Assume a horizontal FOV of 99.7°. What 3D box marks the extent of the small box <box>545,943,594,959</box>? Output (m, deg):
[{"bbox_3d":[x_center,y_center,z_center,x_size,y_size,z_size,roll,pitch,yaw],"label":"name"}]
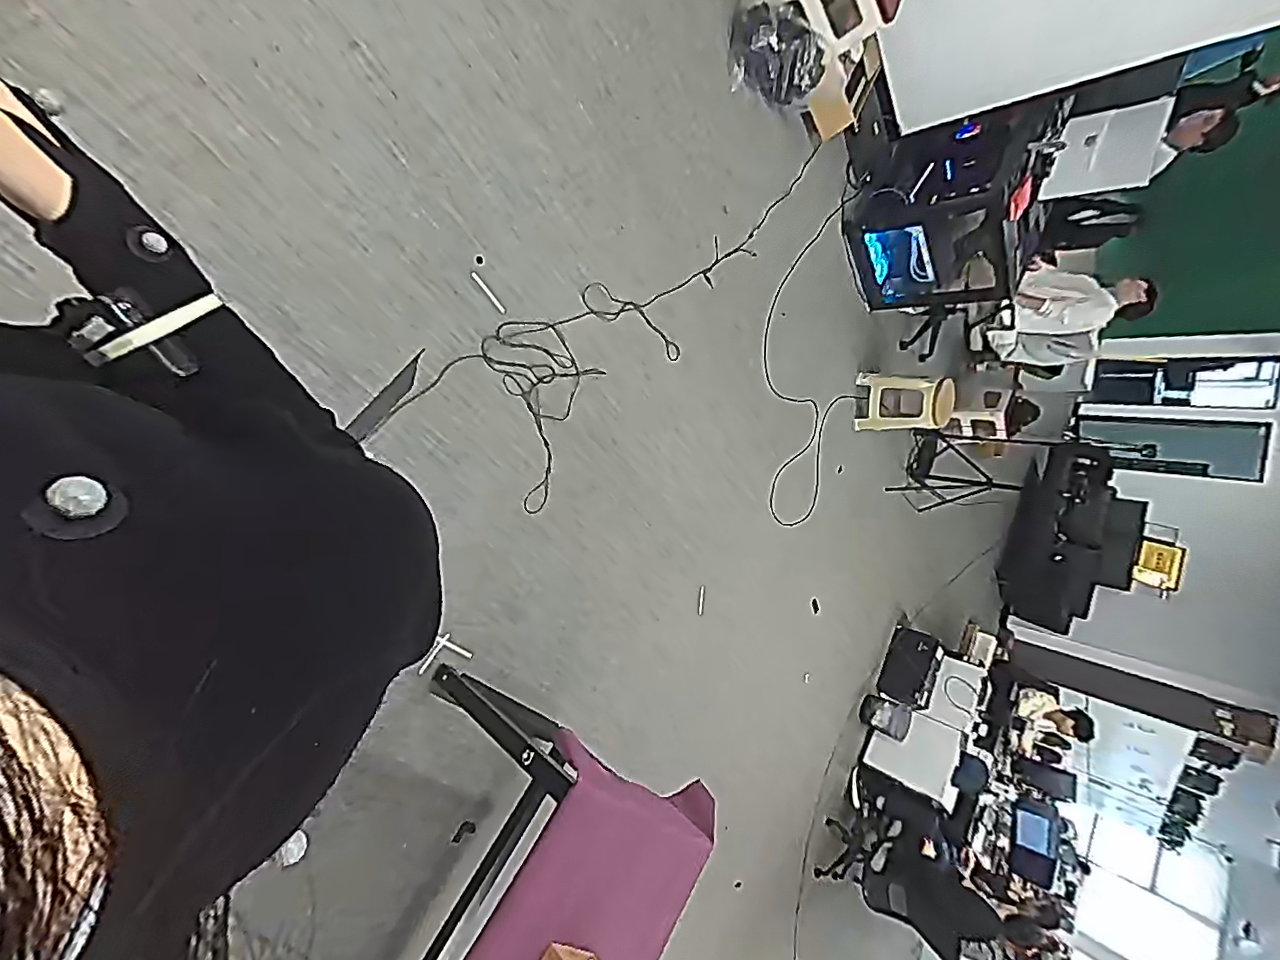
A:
[{"bbox_3d":[-0.132,1.075,1.062,0.179,0.176,0.168,-54,130,-23],"label":"small box"}]
